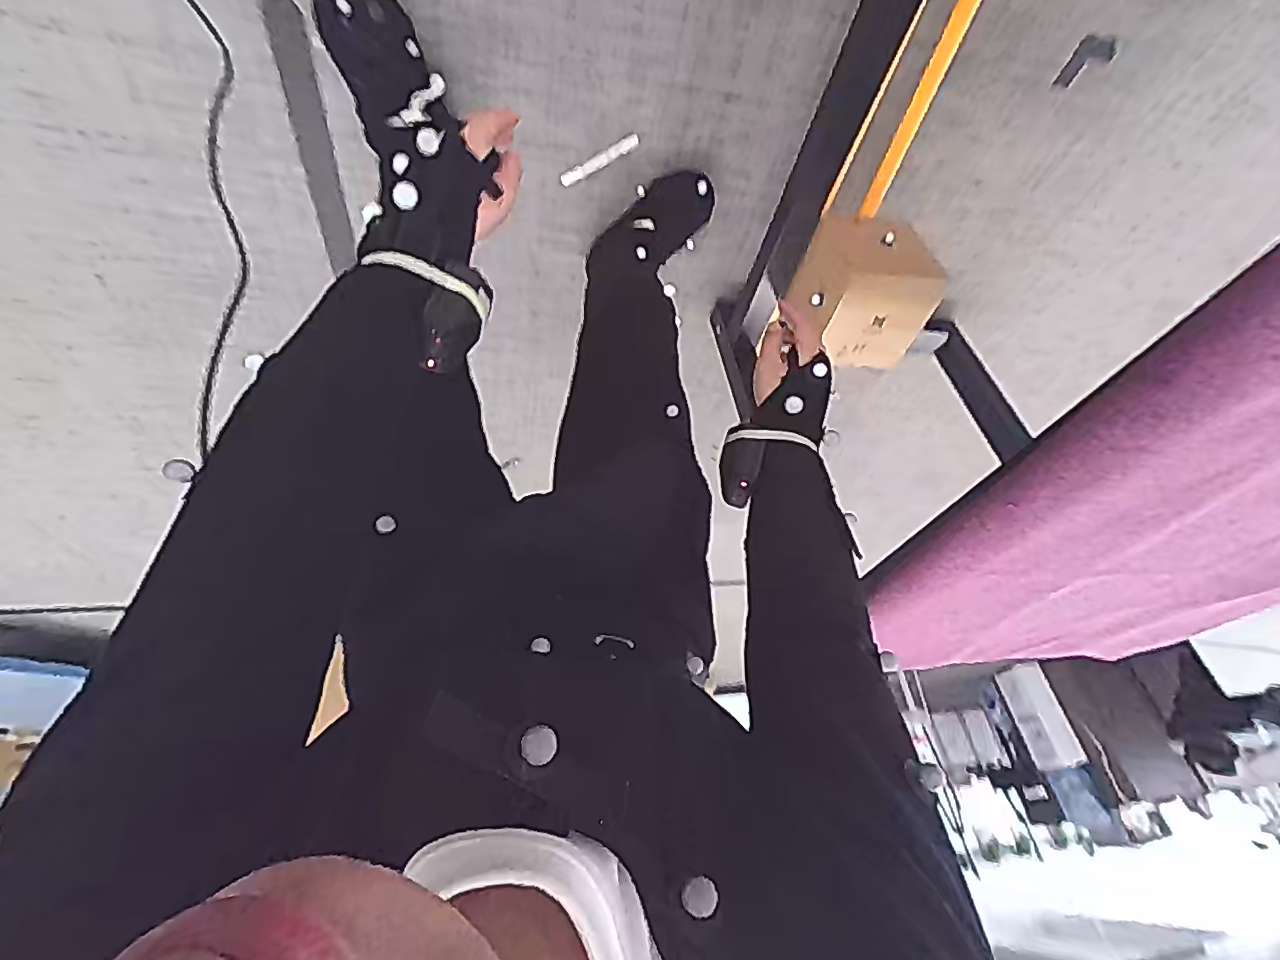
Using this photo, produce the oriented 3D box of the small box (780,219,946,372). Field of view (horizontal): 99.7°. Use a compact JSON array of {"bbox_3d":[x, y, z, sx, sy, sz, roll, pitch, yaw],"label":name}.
[{"bbox_3d":[0.350,-0.302,0.892,0.168,0.176,0.179,1,144,-12],"label":"small box"}]
